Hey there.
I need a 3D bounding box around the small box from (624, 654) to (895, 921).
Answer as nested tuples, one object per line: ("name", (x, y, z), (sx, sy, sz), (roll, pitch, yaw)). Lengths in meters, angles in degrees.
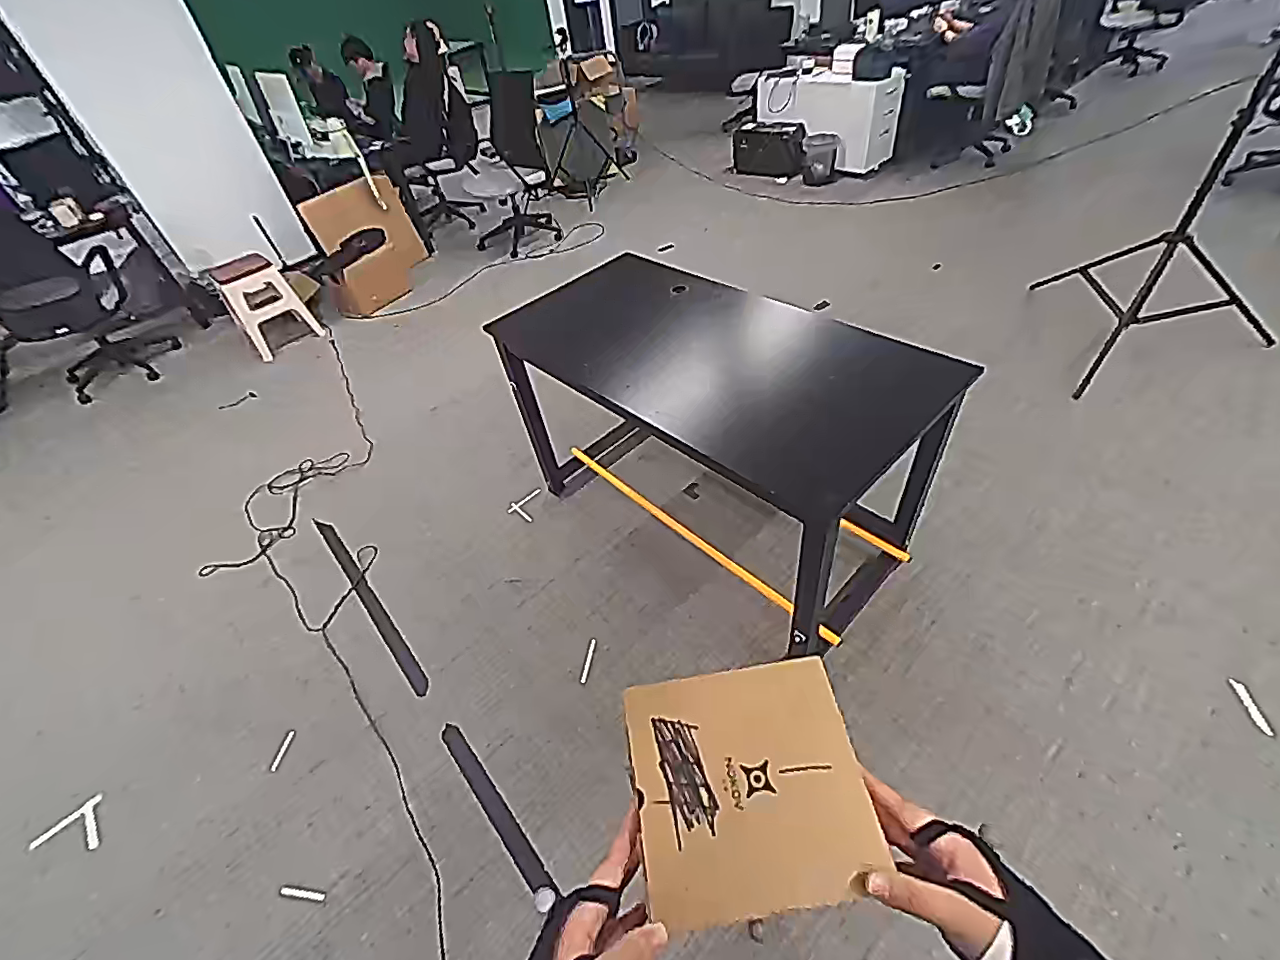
("small box", (0.088, 0.276, 0.482), (0.179, 0.176, 0.168), (-9, 53, -3))
